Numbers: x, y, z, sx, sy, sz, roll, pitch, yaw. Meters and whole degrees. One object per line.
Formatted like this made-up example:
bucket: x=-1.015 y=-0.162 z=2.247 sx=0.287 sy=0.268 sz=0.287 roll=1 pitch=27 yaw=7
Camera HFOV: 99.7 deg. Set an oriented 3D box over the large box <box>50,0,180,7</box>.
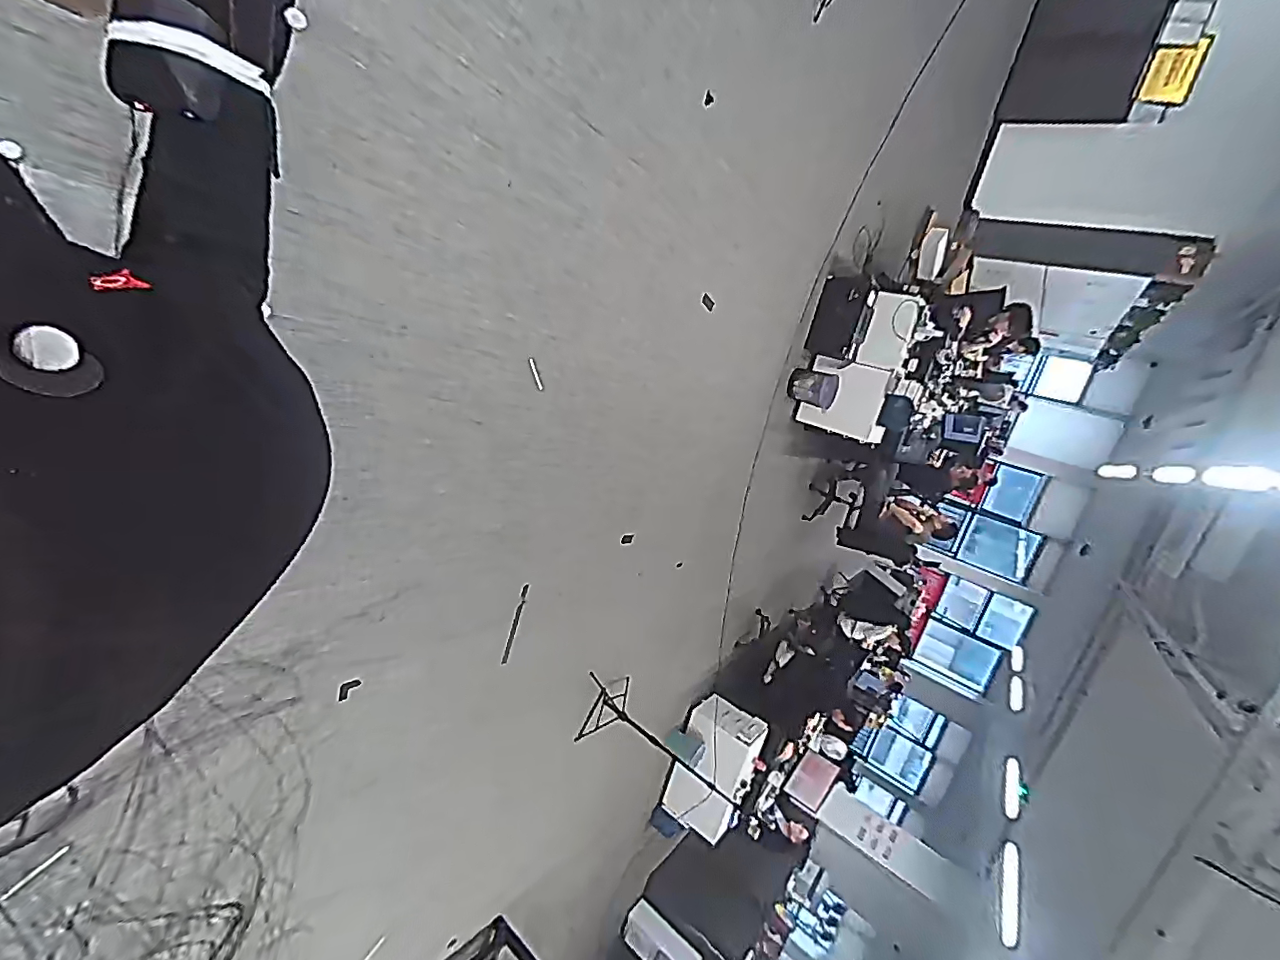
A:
large box: x=-0.485 y=-0.507 z=0.234 sx=0.408 sy=0.320 sz=0.320 roll=-4 pitch=120 yaw=-56
